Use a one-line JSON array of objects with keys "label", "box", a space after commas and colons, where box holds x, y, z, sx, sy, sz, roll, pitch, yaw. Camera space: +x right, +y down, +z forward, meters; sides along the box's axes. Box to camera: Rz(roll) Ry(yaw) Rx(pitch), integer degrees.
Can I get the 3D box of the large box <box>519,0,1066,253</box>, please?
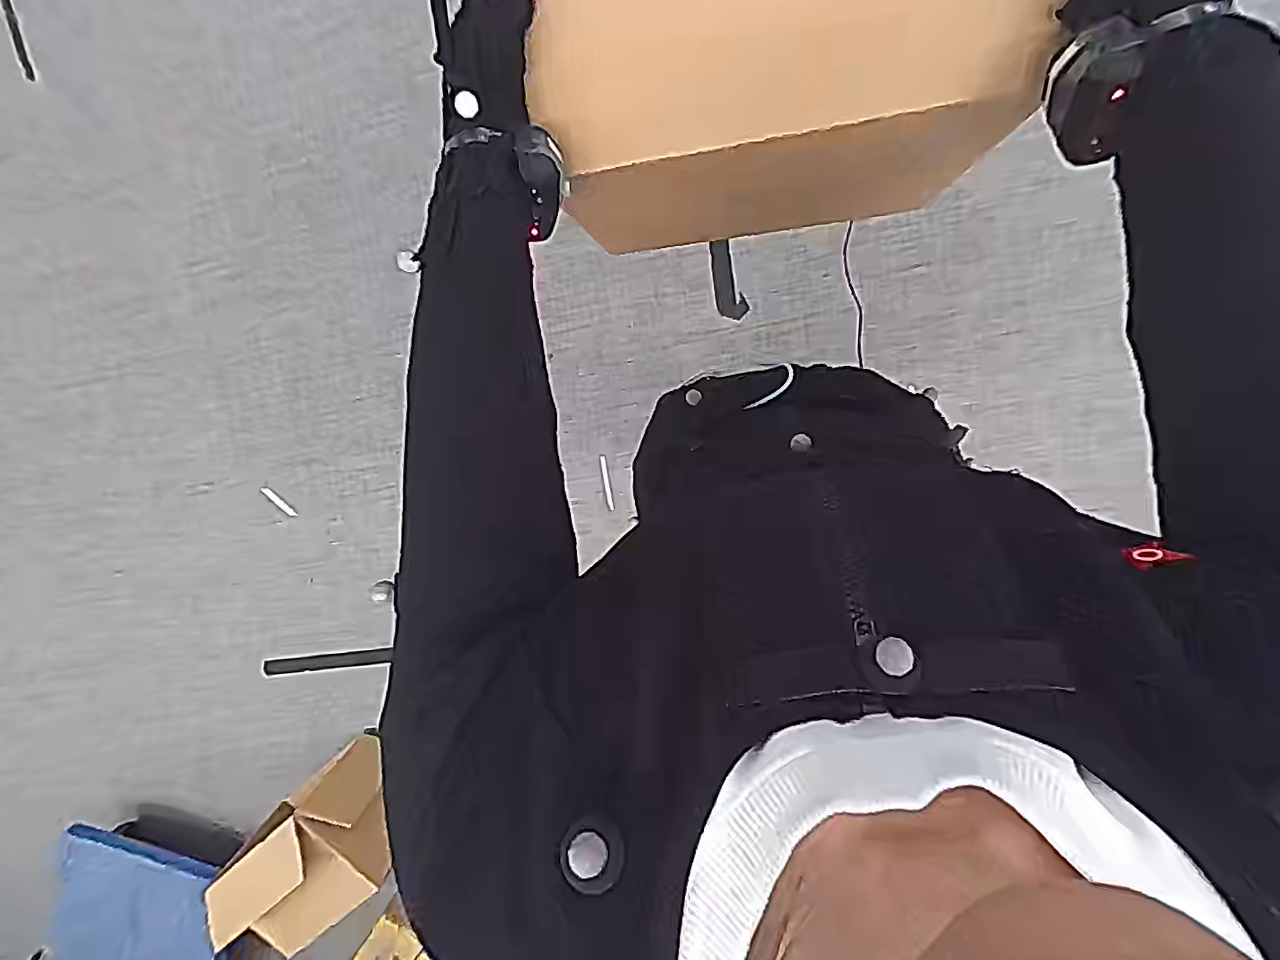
[{"label": "large box", "box": [0.114, -0.451, 0.542, 0.408, 0.320, 0.320, -5, 101, 9]}]
